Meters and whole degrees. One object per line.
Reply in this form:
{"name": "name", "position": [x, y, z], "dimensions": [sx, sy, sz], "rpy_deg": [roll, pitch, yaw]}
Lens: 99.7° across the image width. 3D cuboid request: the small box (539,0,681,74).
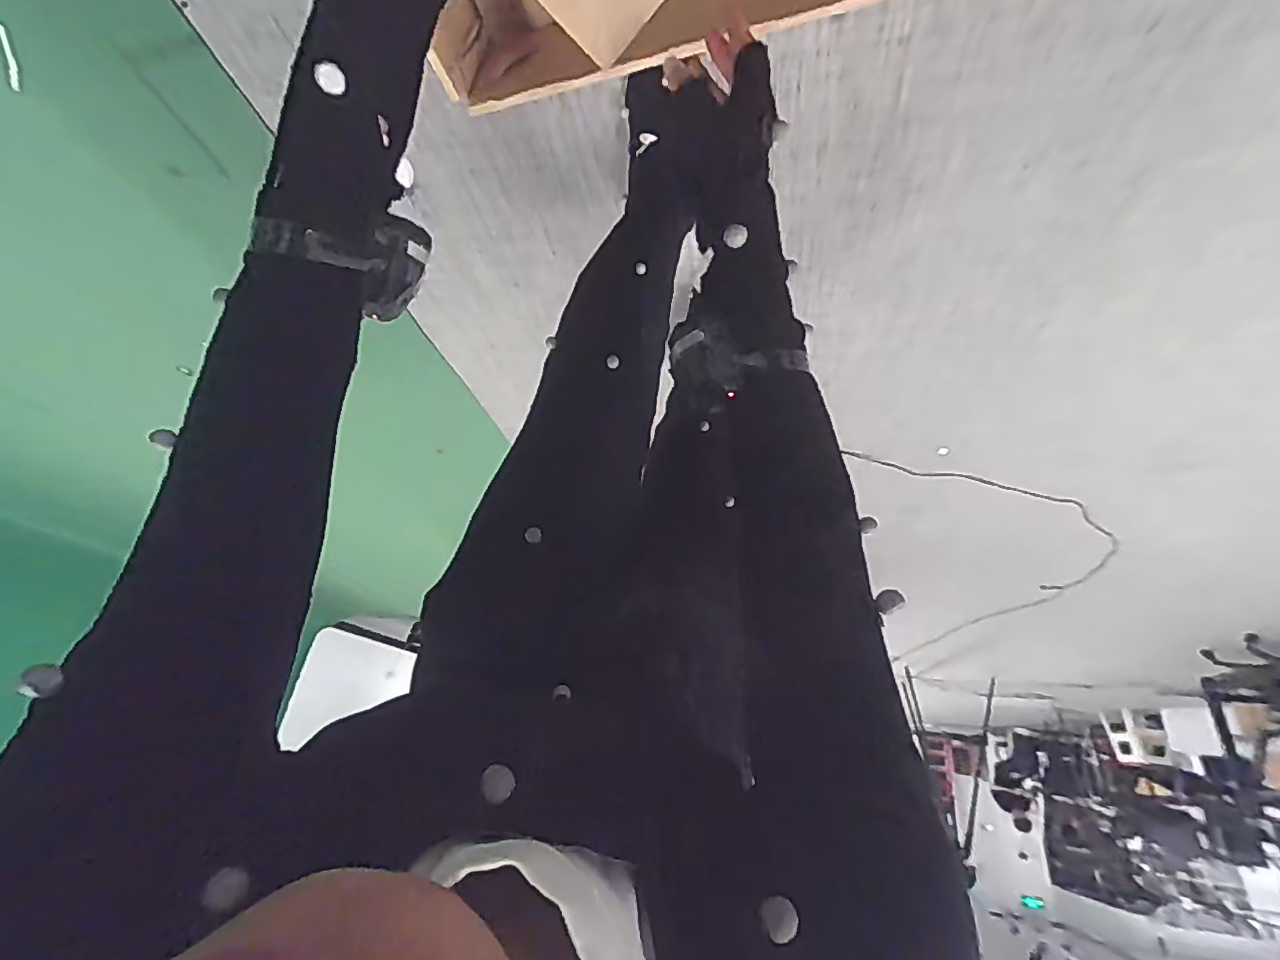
{"name": "small box", "position": [-0.020, -0.440, 0.355], "dimensions": [0.179, 0.176, 0.168], "rpy_deg": [26, 148, -36]}
